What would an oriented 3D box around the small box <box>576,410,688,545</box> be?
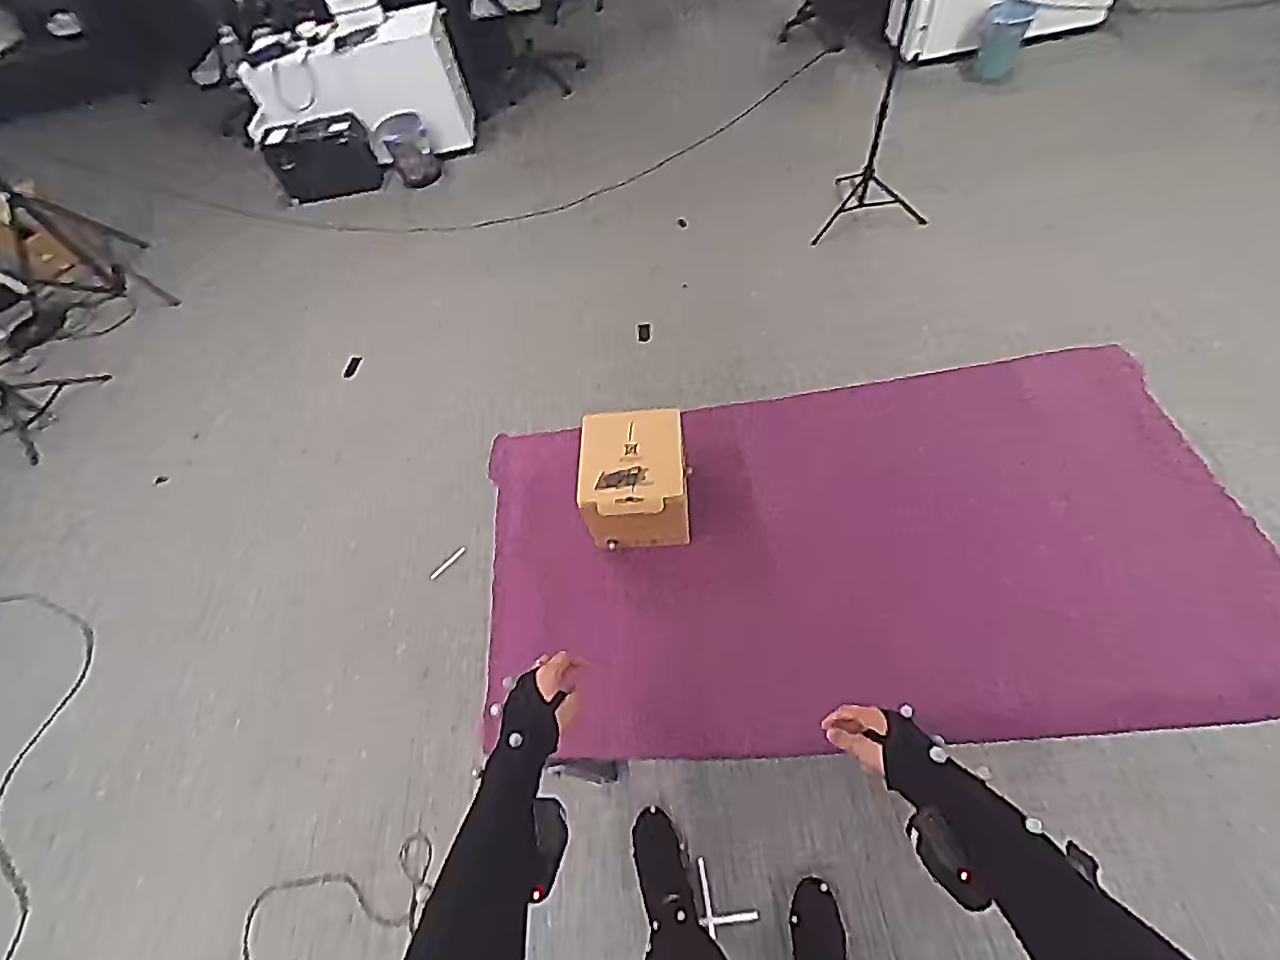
[{"bbox_3d":[-0.007,0.004,0.921,0.168,0.176,0.179,-4,58,6],"label":"small box"}]
